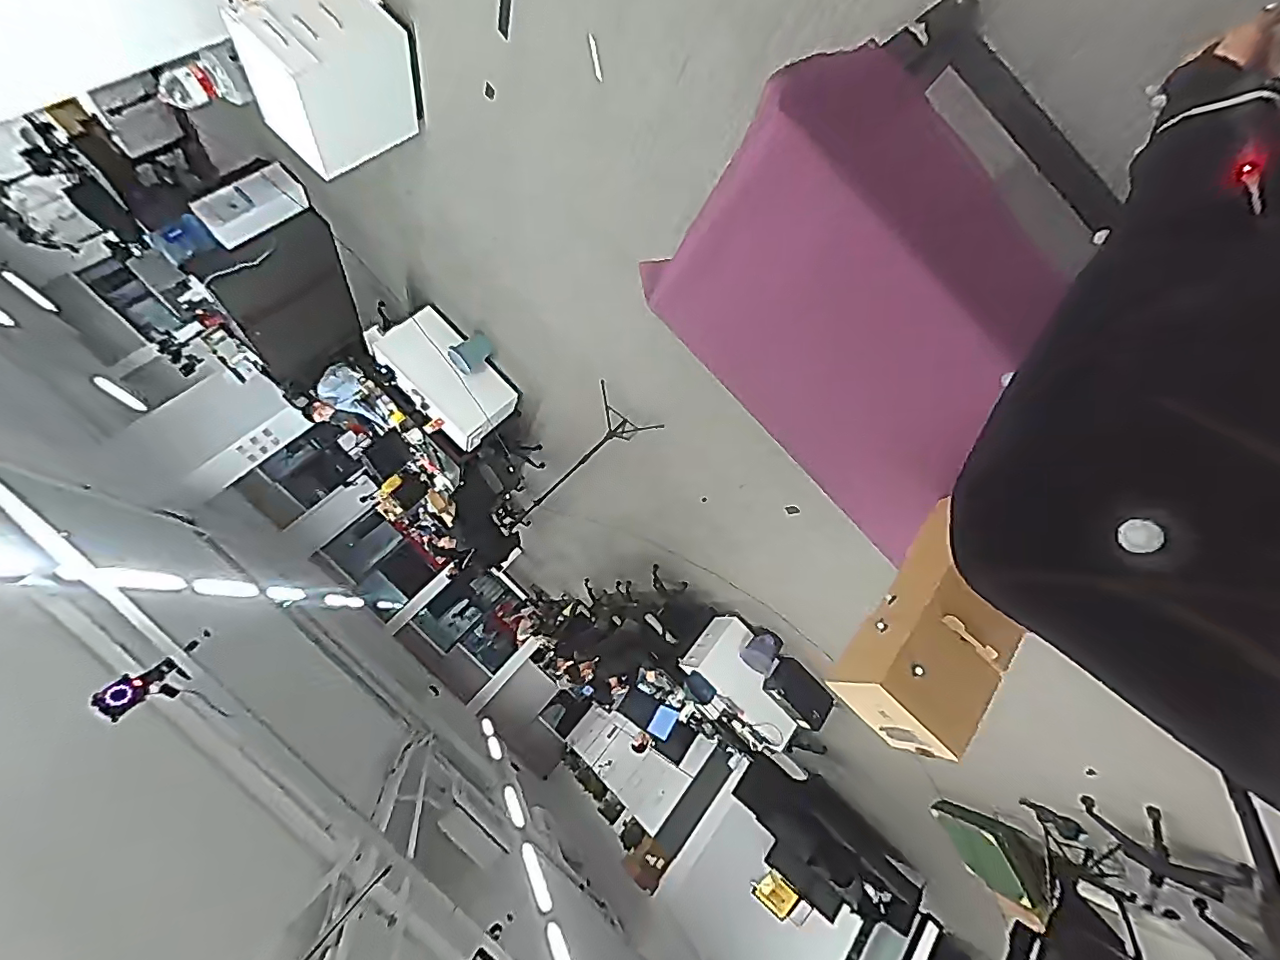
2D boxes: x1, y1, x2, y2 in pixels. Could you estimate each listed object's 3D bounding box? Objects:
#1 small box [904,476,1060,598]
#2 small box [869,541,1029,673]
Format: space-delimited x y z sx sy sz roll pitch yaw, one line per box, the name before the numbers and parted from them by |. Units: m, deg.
small box | 0.681 0.124 1.079 0.179 0.176 0.168 42 157 5
small box | 0.581 0.241 1.021 0.168 0.176 0.179 41 157 6
